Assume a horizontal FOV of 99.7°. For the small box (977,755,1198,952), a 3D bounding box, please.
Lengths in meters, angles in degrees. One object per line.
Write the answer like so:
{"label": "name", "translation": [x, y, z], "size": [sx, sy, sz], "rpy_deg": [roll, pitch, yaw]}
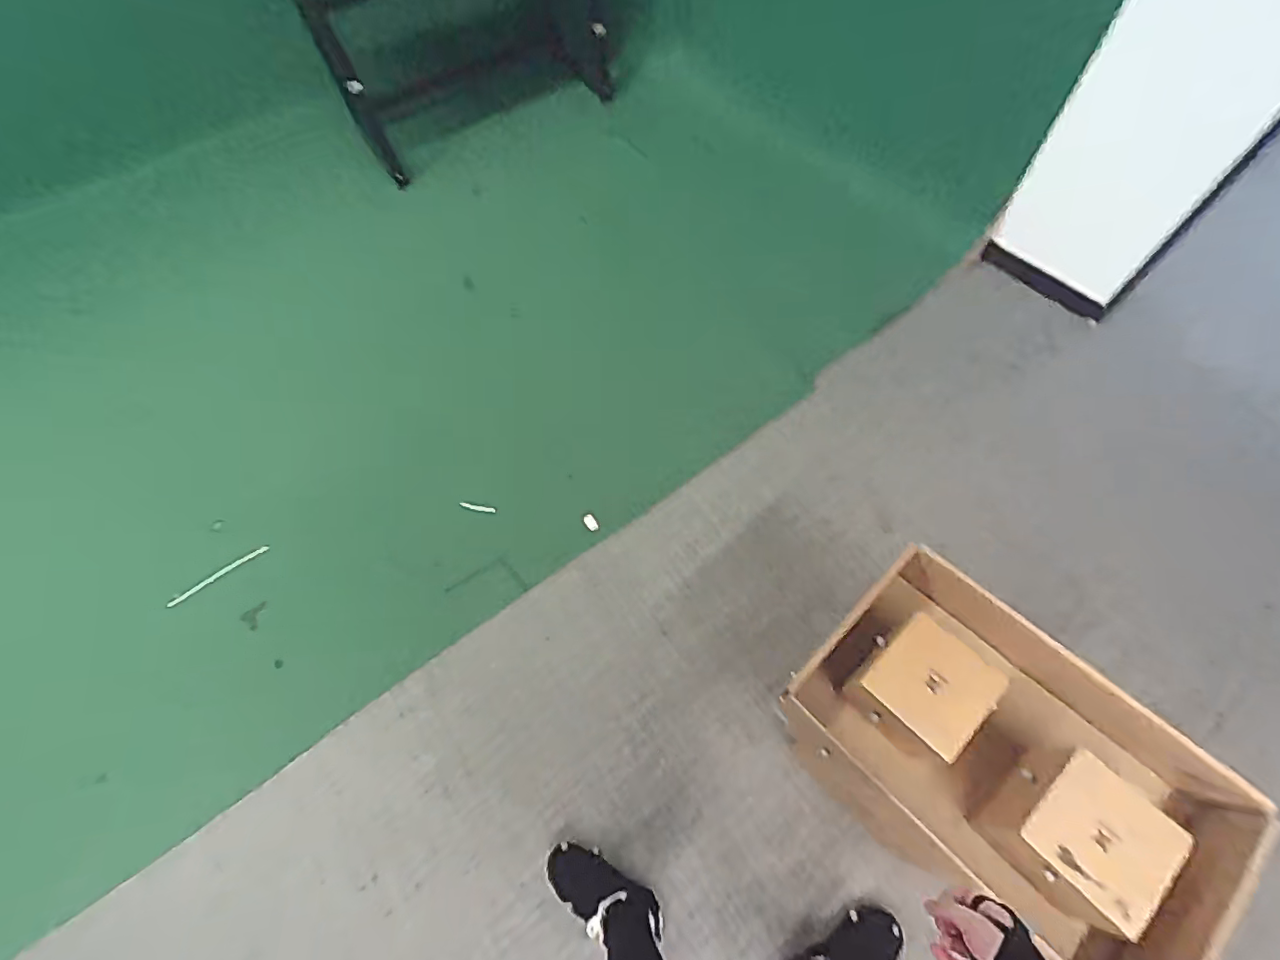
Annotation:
{"label": "small box", "translation": [0.666, 0.552, 0.829], "size": [0.179, 0.176, 0.168], "rpy_deg": [-38, 65, -16]}

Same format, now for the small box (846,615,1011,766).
{"label": "small box", "translation": [0.485, 0.372, 0.942], "size": [0.179, 0.176, 0.168], "rpy_deg": [-40, 66, -17]}
